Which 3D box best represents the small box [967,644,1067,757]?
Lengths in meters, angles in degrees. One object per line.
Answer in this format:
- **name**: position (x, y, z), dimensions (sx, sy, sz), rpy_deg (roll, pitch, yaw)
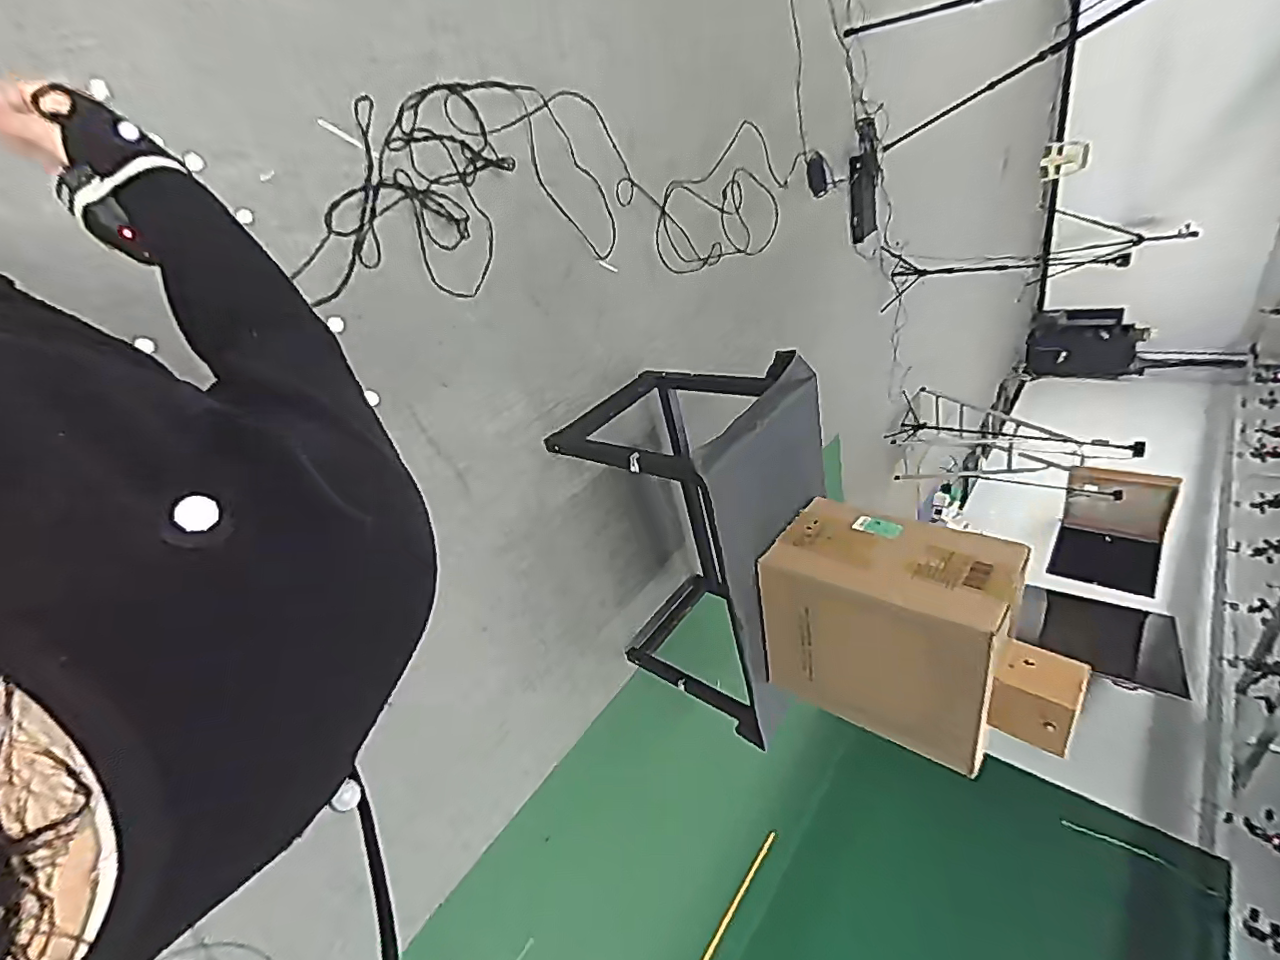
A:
- **small box**: position (0.965, 0.558, 1.394), dimensions (0.168, 0.176, 0.179), rpy_deg (-32, 123, -37)
